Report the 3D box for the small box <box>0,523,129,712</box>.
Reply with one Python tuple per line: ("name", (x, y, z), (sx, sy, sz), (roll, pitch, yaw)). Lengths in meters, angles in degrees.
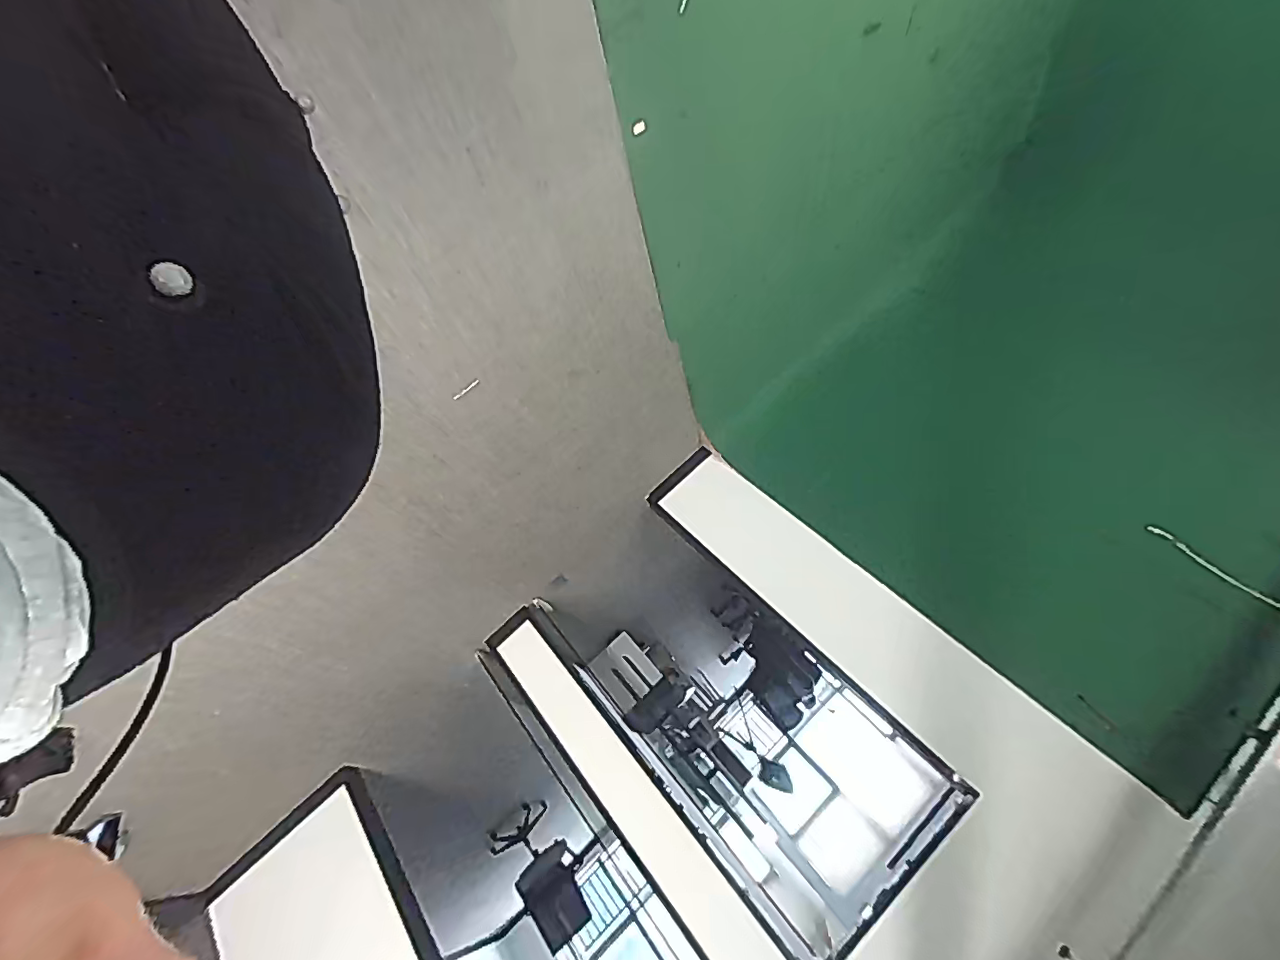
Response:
("small box", (-0.908, 0.197, 0.782), (0.179, 0.176, 0.168), (-42, 150, -13))
